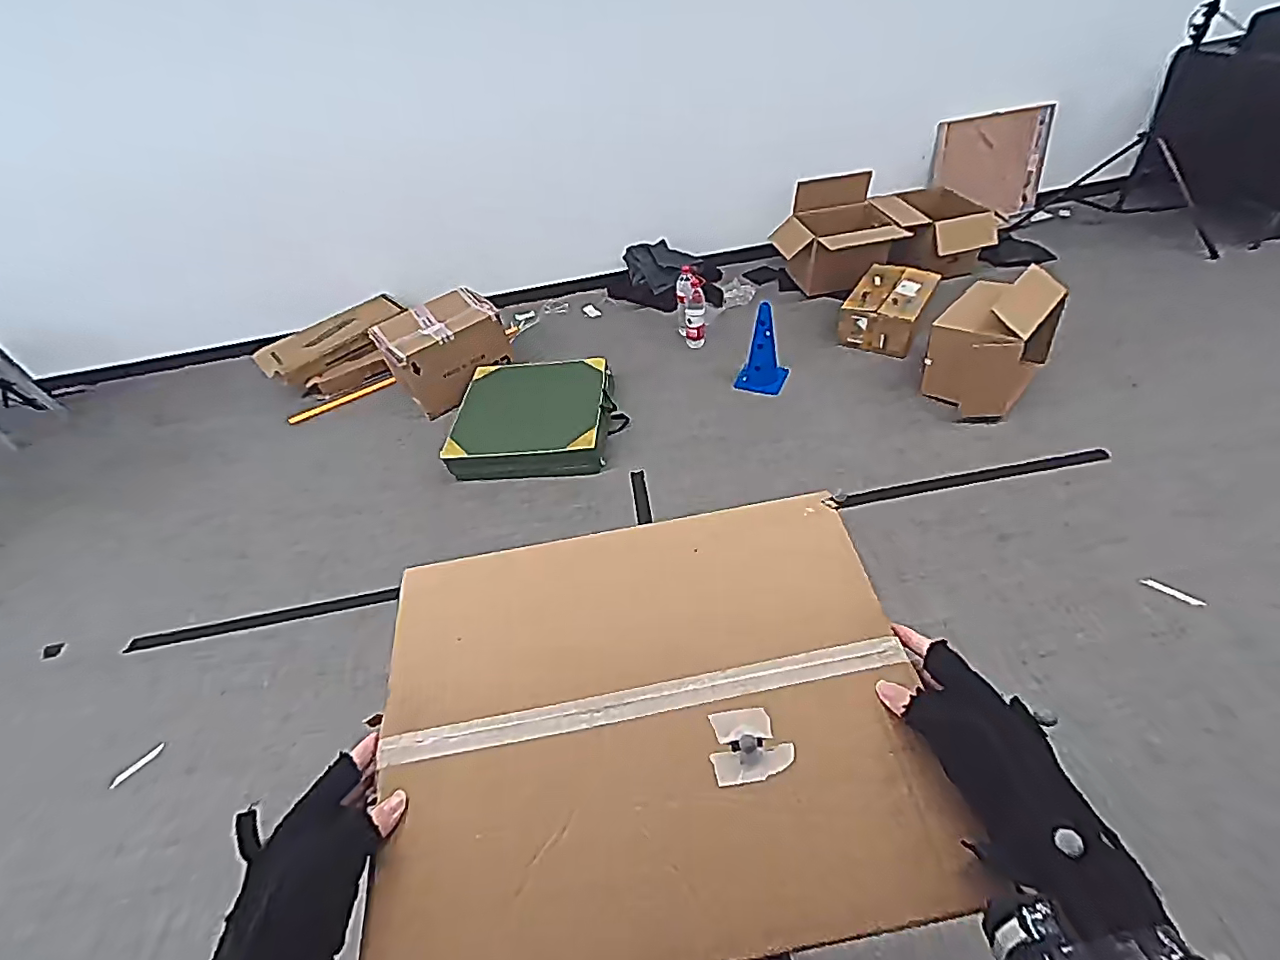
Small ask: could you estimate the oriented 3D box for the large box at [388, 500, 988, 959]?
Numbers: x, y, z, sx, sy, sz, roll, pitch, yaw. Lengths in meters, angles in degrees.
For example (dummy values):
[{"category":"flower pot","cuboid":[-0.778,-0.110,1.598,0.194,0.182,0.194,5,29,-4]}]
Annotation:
[{"category":"large box","cuboid":[0.021,0.265,0.550,0.408,0.320,0.320,-10,53,-2]}]
